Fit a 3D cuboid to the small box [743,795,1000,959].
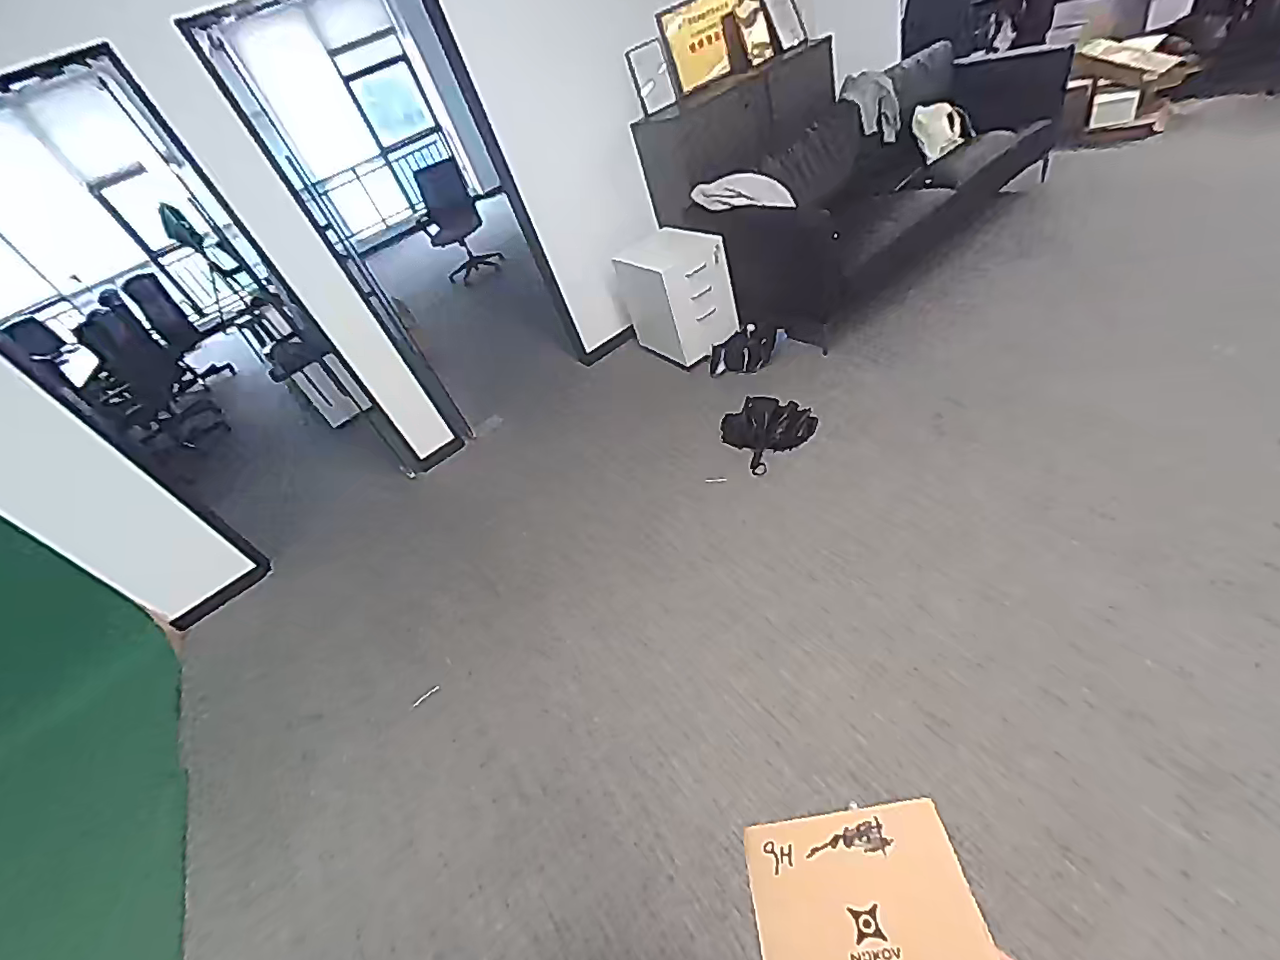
[{"bbox_3d":[0.195,0.397,0.448,0.168,0.176,0.179,-15,37,9],"label":"small box"}]
